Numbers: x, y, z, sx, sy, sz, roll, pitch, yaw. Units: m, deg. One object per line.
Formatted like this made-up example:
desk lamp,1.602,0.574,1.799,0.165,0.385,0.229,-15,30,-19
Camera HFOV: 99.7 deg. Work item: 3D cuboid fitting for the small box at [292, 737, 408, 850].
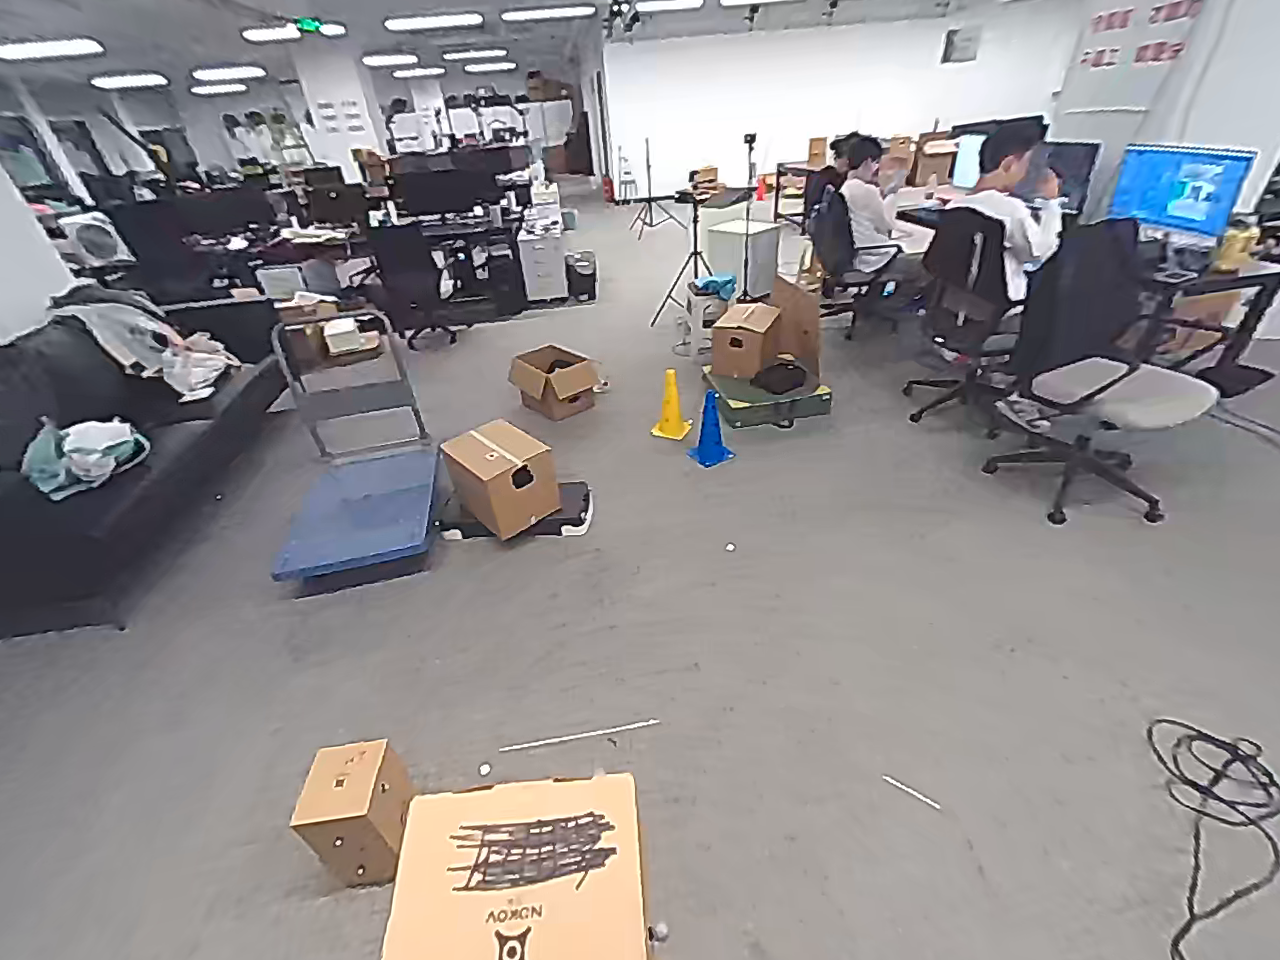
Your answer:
small box,-0.667,0.738,1.269,0.168,0.176,0.179,-6,35,-3

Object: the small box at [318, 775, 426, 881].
small box,-0.661,0.875,1.361,0.179,0.176,0.168,-8,35,-2
